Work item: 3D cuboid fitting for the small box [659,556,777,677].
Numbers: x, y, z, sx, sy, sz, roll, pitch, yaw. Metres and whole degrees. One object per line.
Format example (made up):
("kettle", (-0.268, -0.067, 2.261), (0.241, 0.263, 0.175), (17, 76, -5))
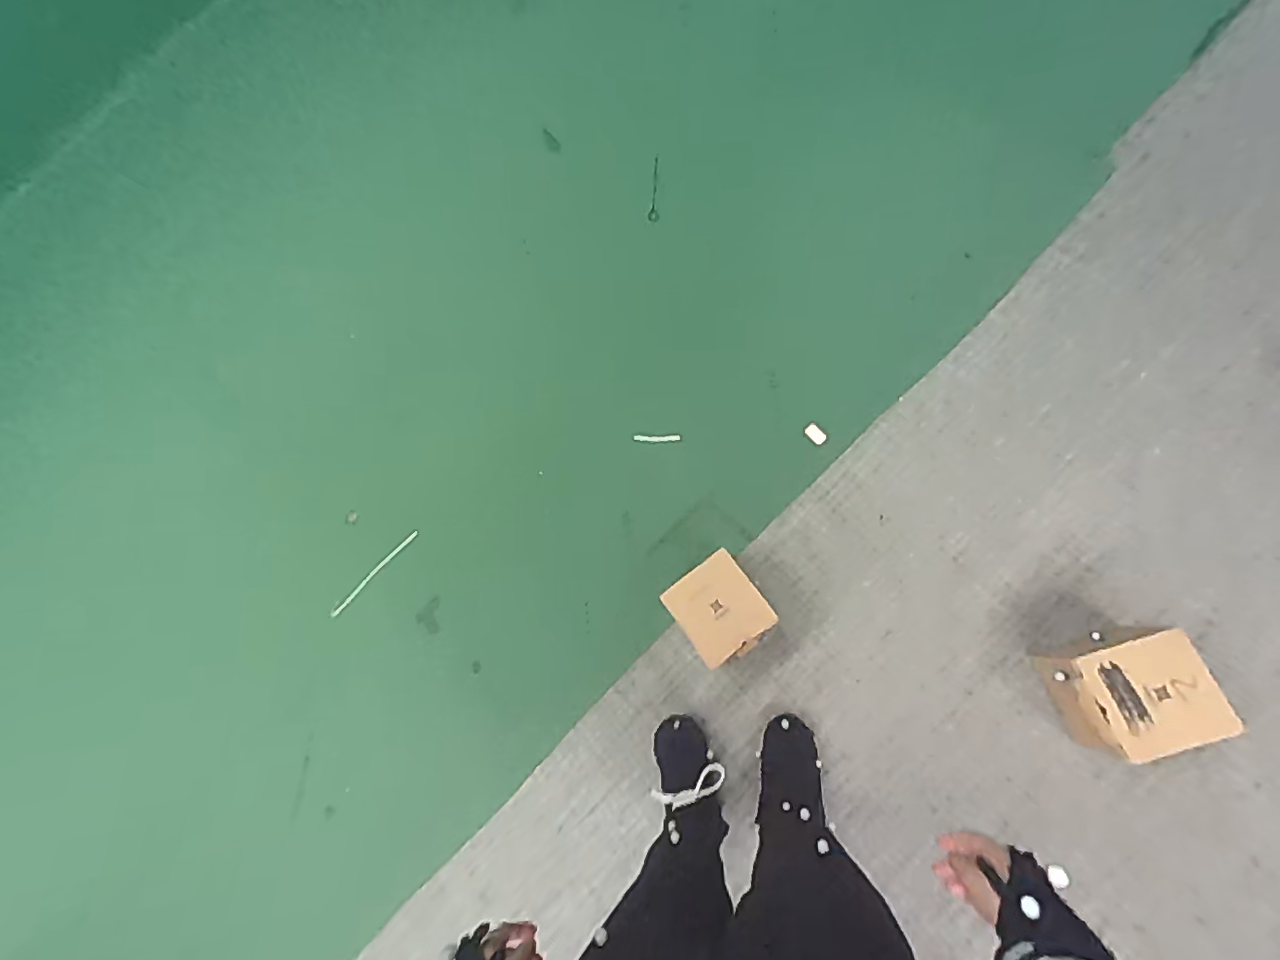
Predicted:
("small box", (0.166, 0.280, 1.119), (0.168, 0.176, 0.179), (-37, 69, 0))
